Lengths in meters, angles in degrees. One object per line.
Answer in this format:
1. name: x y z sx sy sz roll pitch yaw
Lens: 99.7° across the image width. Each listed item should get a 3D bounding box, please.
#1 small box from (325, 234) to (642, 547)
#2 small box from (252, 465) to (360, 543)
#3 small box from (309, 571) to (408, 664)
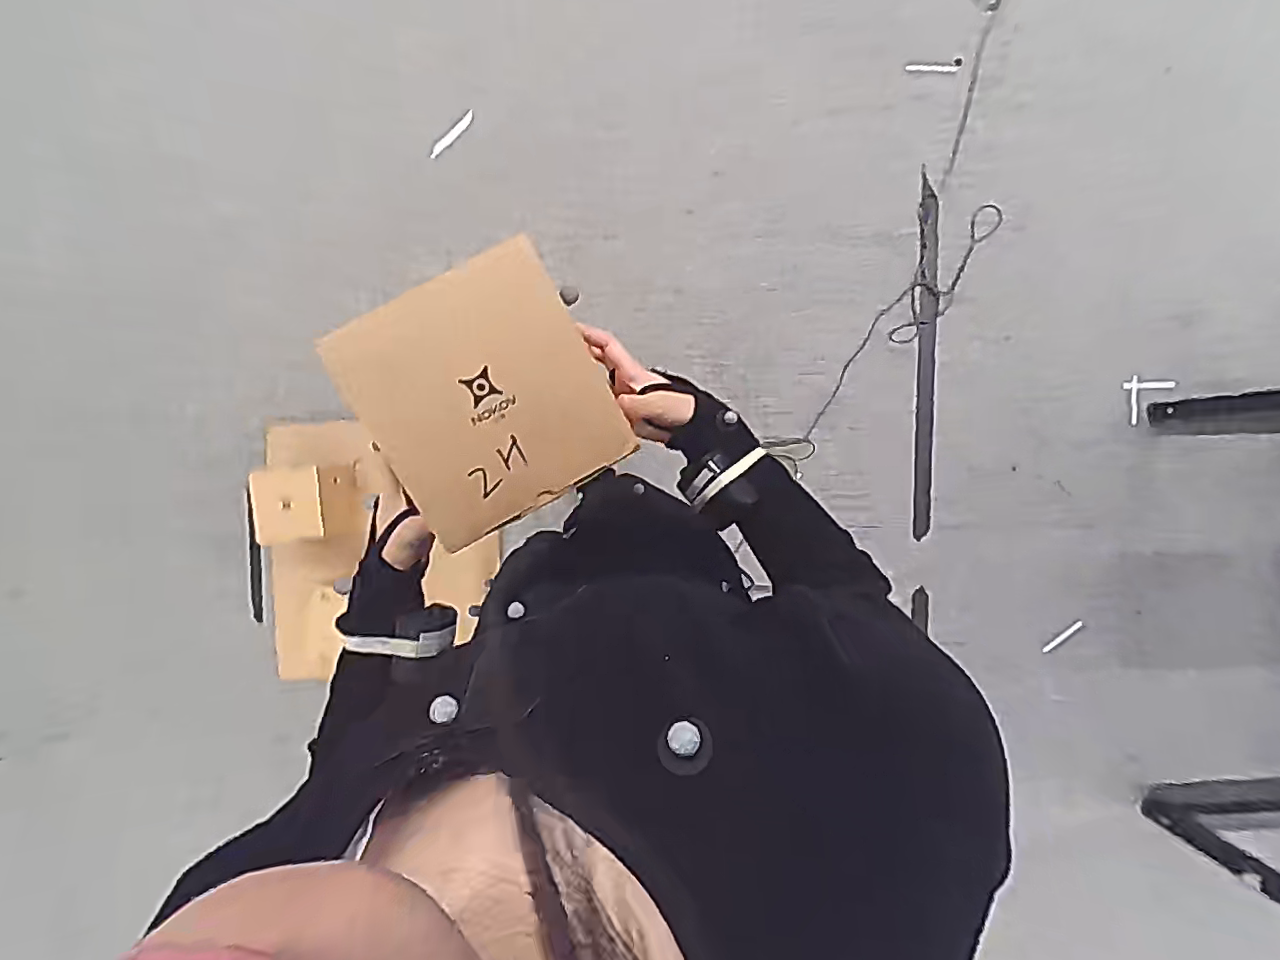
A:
1. small box: -0.119 -0.070 0.465 0.168 0.176 0.179 -28 99 -4
2. small box: -0.842 0.058 1.375 0.168 0.176 0.179 -6 91 -1
3. small box: -0.712 0.346 1.383 0.168 0.176 0.179 7 93 -2
